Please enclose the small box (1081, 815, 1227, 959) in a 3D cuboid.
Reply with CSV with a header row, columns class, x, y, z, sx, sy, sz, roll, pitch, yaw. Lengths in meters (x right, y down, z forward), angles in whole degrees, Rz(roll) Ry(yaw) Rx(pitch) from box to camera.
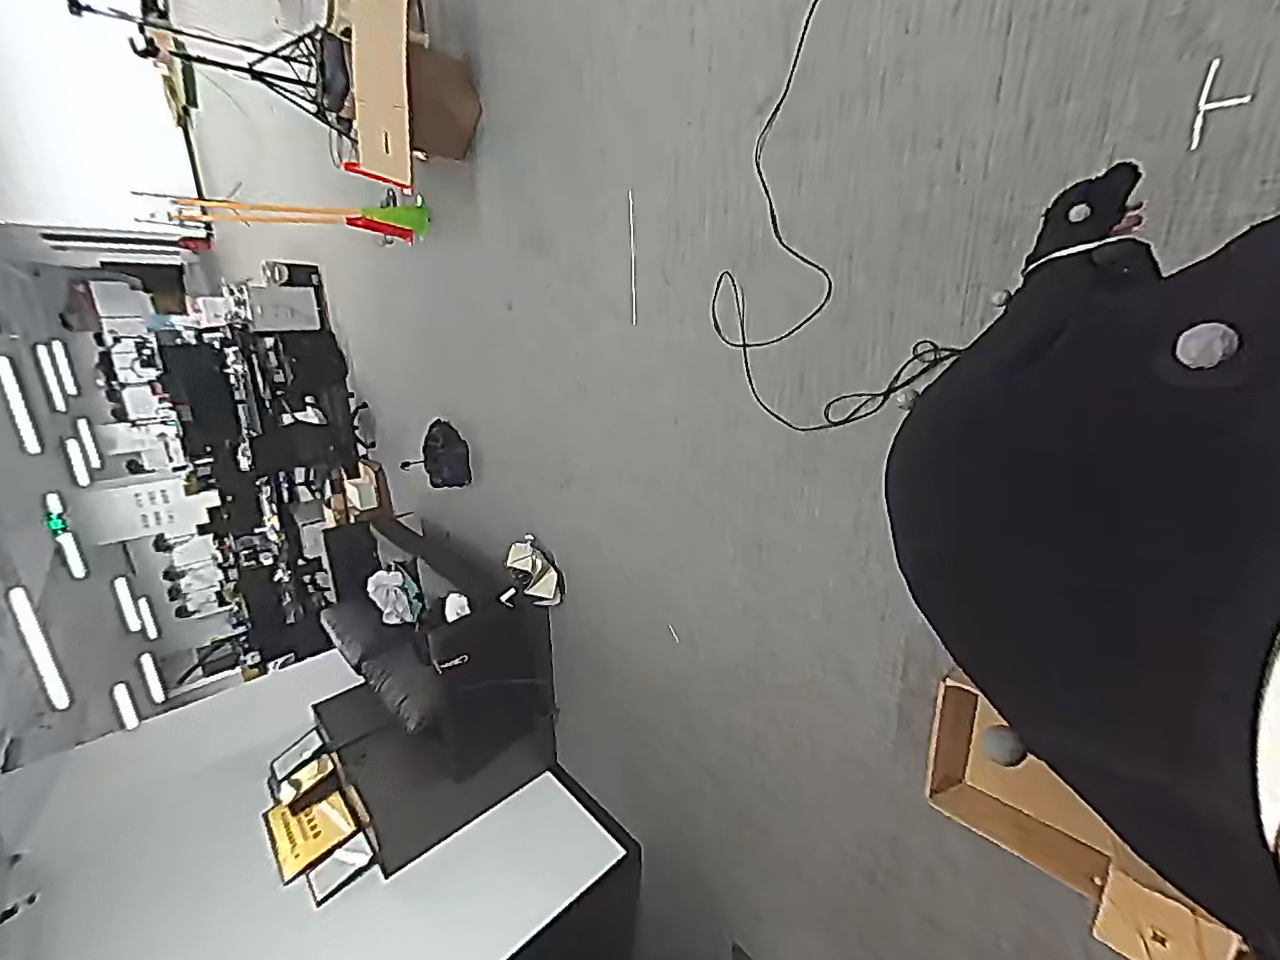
class,x,y,z,sx,sy,sz,roll,pitch,yaw
small box,0.972,0.793,1.022,0.168,0.176,0.179,16,115,46
